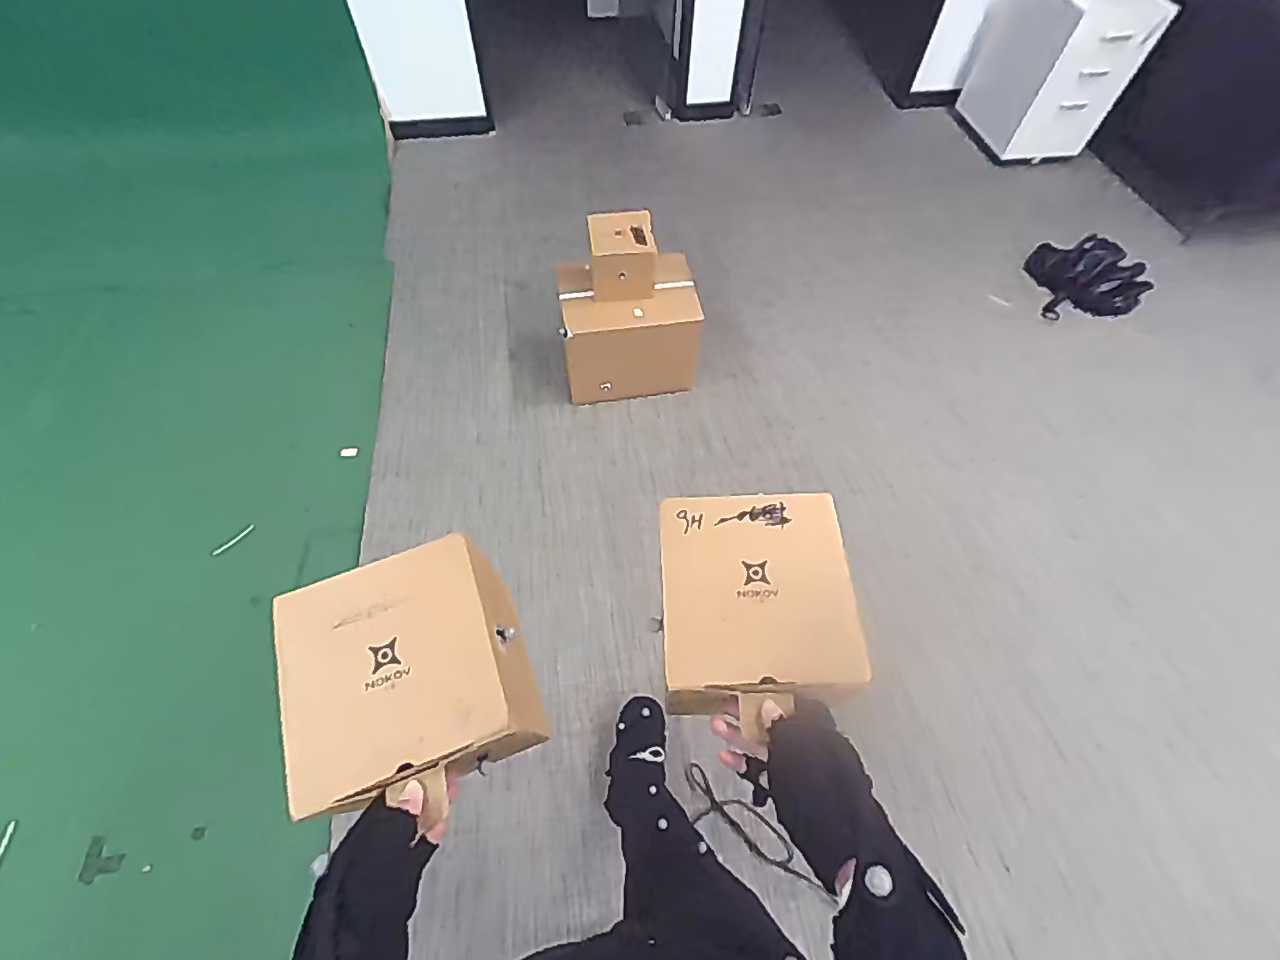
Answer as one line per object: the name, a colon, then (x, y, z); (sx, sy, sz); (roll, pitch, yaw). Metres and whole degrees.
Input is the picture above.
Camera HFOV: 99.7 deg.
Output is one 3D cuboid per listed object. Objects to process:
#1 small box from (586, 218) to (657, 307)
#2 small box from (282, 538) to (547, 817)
small box: (-0.057, -0.619, 1.550); (0.179, 0.176, 0.168); (-9, 65, -7)
small box: (-0.201, 0.187, 0.515); (0.168, 0.176, 0.179); (-21, 63, -9)
